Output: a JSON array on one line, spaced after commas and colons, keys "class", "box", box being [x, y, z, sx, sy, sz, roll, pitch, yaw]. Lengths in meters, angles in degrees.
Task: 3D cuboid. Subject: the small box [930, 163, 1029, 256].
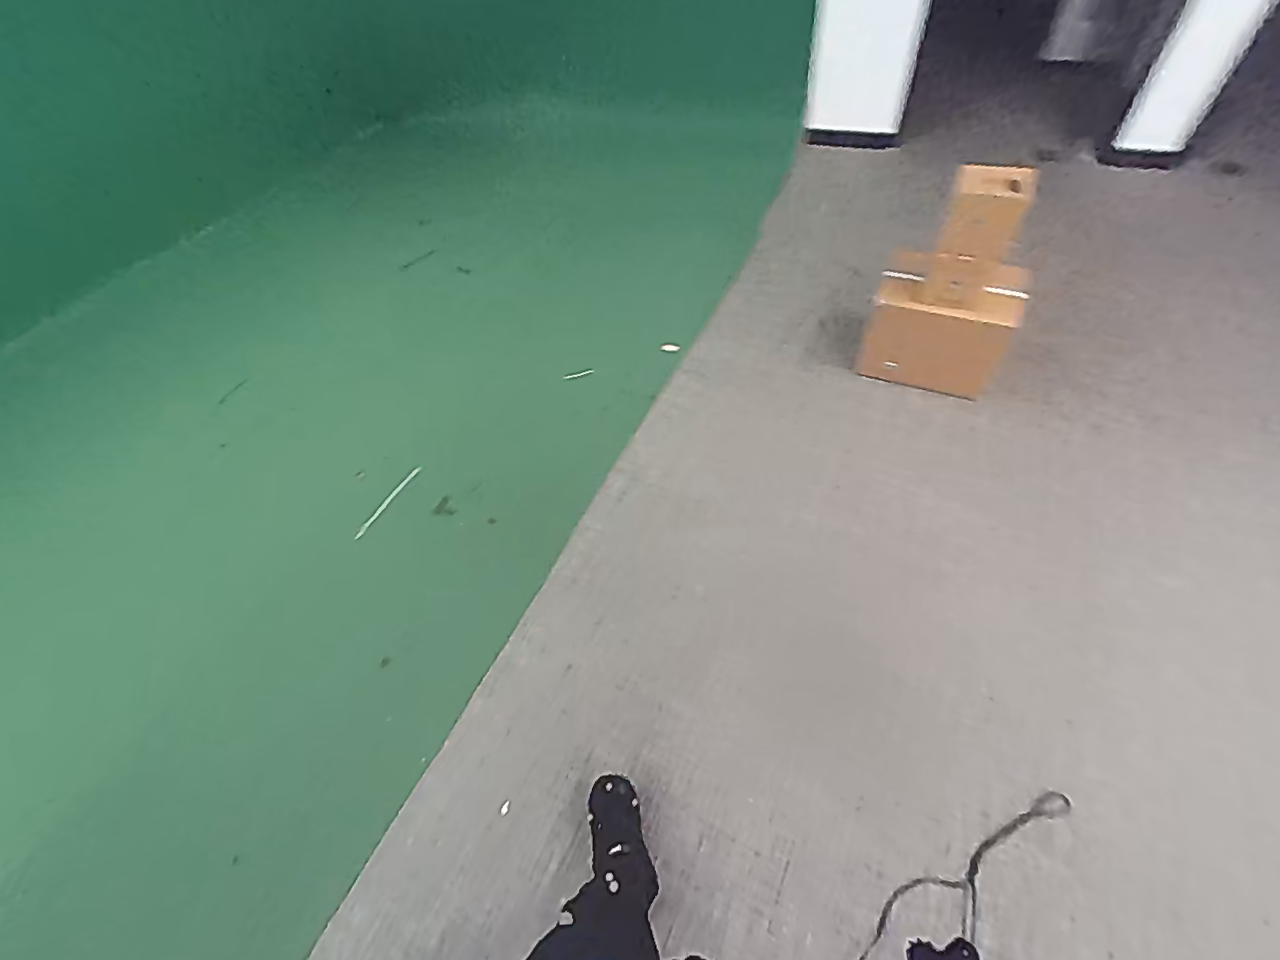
[{"class": "small box", "box": [0.930, -0.741, 1.488, 0.179, 0.176, 0.168, 18, 58, 20]}]

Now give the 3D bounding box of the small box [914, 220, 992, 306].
[{"class": "small box", "box": [0.941, -0.648, 1.624, 0.168, 0.176, 0.179, 15, 59, 18]}]
